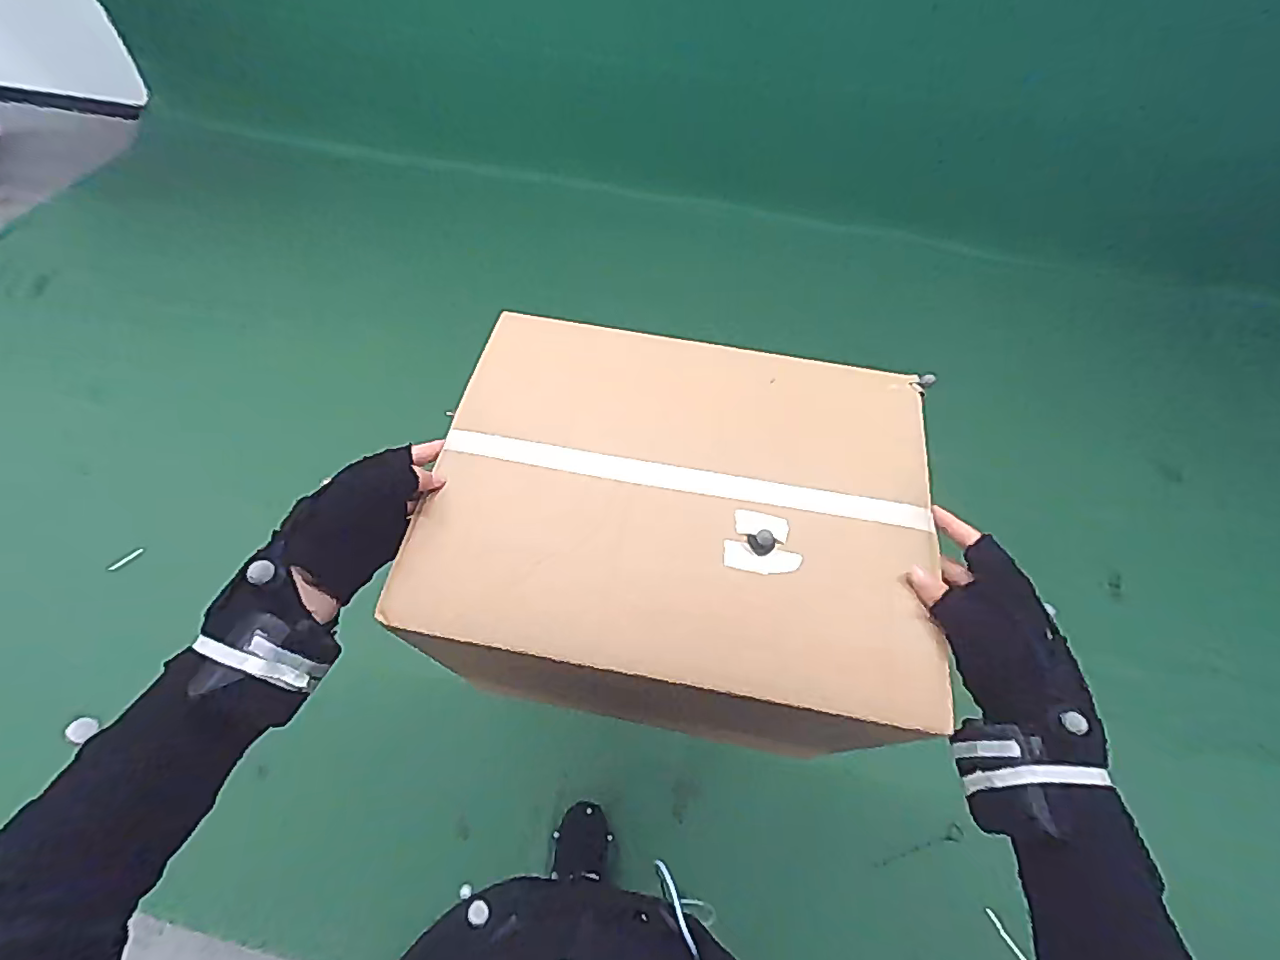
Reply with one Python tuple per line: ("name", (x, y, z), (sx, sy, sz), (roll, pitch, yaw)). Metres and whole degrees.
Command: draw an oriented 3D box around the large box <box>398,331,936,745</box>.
("large box", (0.031, 0.080, 0.591), (0.408, 0.320, 0.320), (9, 61, 4))
